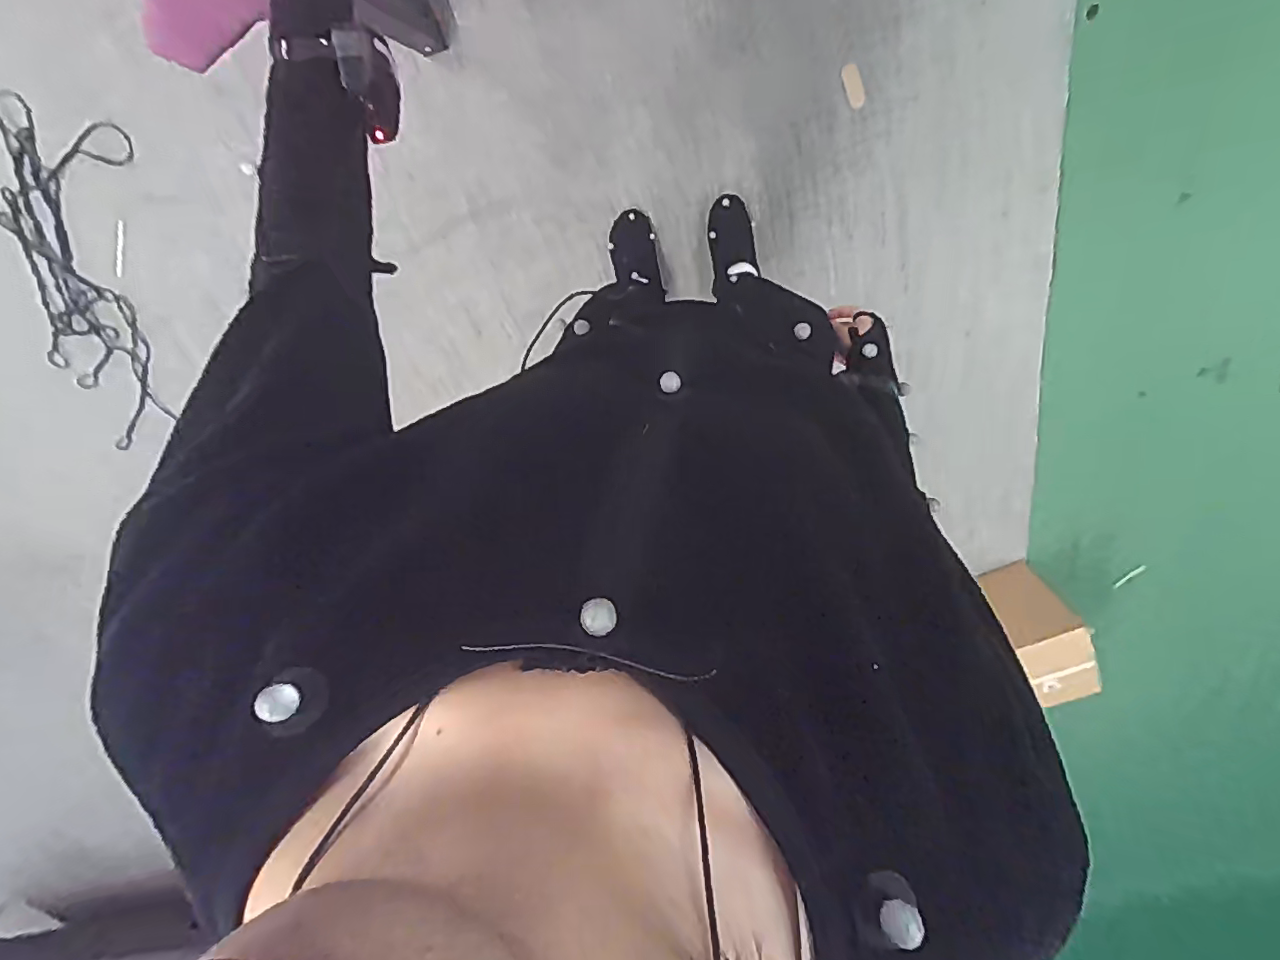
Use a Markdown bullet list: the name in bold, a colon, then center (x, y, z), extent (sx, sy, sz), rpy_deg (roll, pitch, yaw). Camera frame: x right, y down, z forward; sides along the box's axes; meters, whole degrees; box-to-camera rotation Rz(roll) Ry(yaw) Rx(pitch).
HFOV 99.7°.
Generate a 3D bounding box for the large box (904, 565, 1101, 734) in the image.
- **large box**: center (1.157, 0.545, 1.758), extent (0.408, 0.320, 0.320), rpy_deg (-26, 116, 13)
